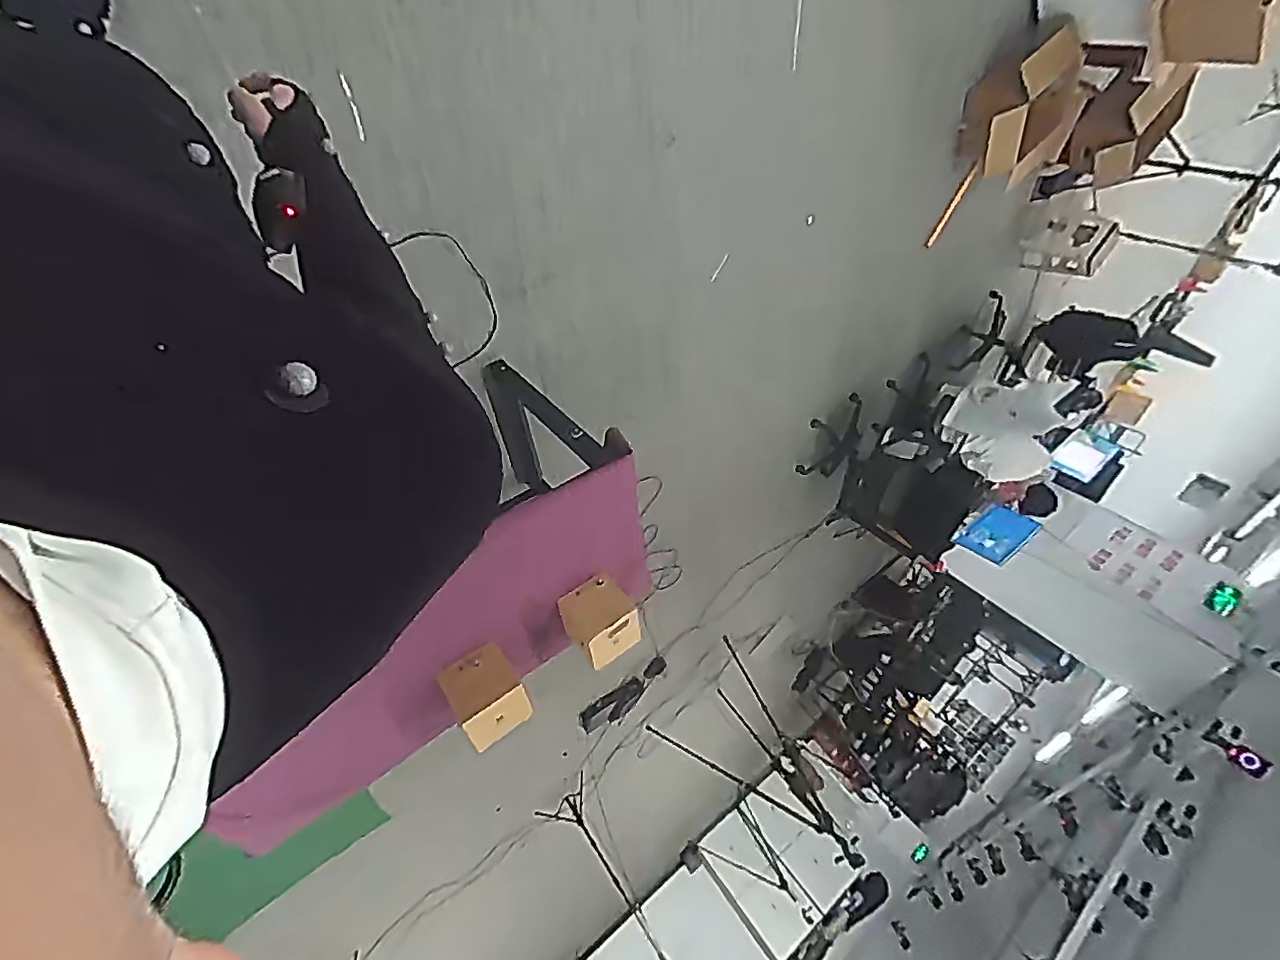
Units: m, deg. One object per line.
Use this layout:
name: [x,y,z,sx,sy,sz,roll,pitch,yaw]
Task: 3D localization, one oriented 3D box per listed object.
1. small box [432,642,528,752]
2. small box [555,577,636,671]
small box: [-0.417,0.562,1.414,0.168,0.176,0.179,-29,138,-25]
small box: [-0.130,0.407,1.563,0.168,0.176,0.179,-29,139,-24]
